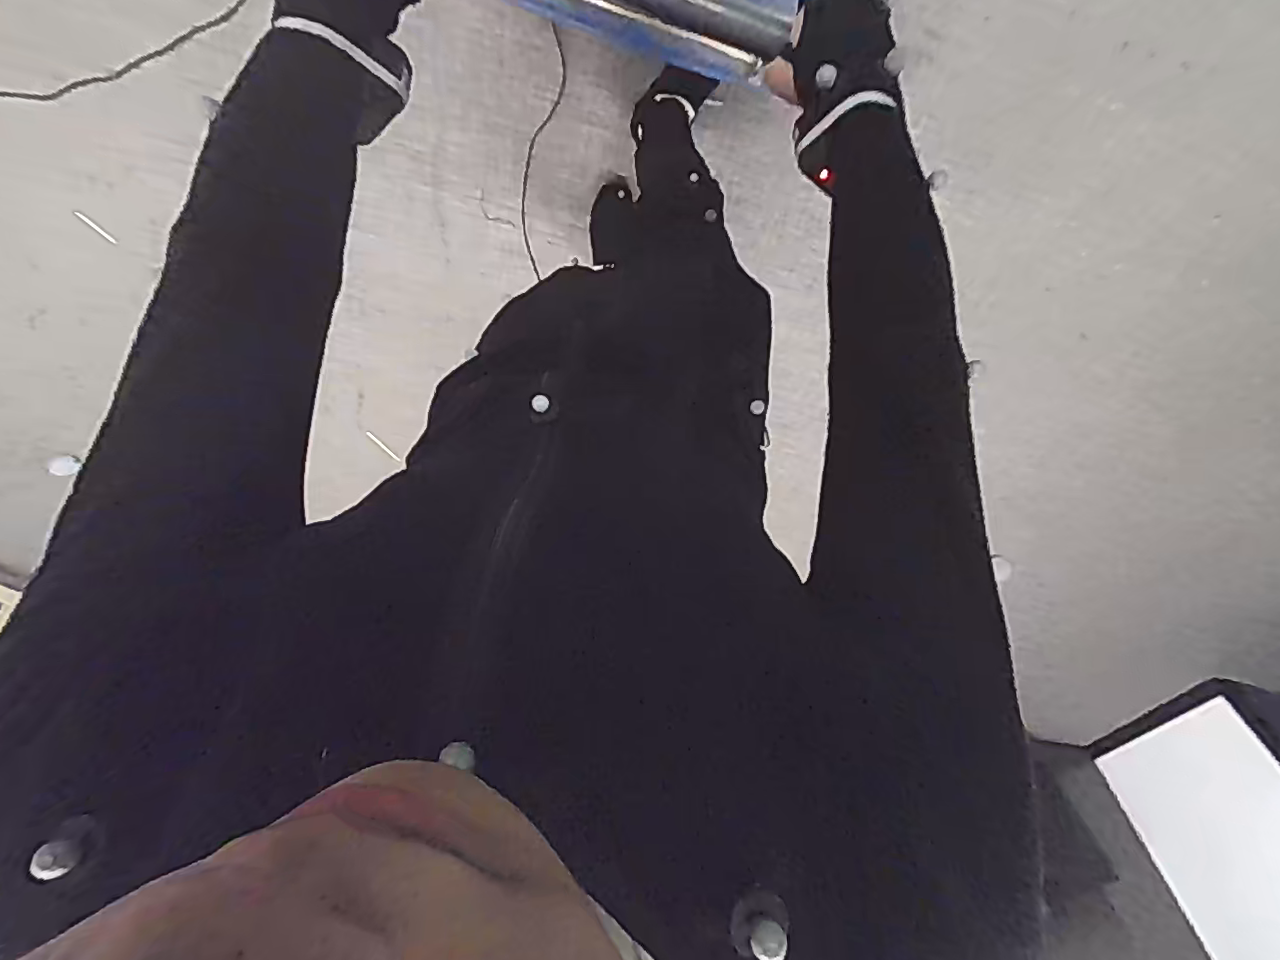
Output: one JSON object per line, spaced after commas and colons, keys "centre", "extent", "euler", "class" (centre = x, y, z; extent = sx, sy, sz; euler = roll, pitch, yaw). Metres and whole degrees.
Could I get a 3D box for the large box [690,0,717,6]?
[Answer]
{"centre": [0.029, -0.926, 0.701], "extent": [0.320, 0.320, 0.408], "euler": [13, 128, -10], "class": "large box"}
